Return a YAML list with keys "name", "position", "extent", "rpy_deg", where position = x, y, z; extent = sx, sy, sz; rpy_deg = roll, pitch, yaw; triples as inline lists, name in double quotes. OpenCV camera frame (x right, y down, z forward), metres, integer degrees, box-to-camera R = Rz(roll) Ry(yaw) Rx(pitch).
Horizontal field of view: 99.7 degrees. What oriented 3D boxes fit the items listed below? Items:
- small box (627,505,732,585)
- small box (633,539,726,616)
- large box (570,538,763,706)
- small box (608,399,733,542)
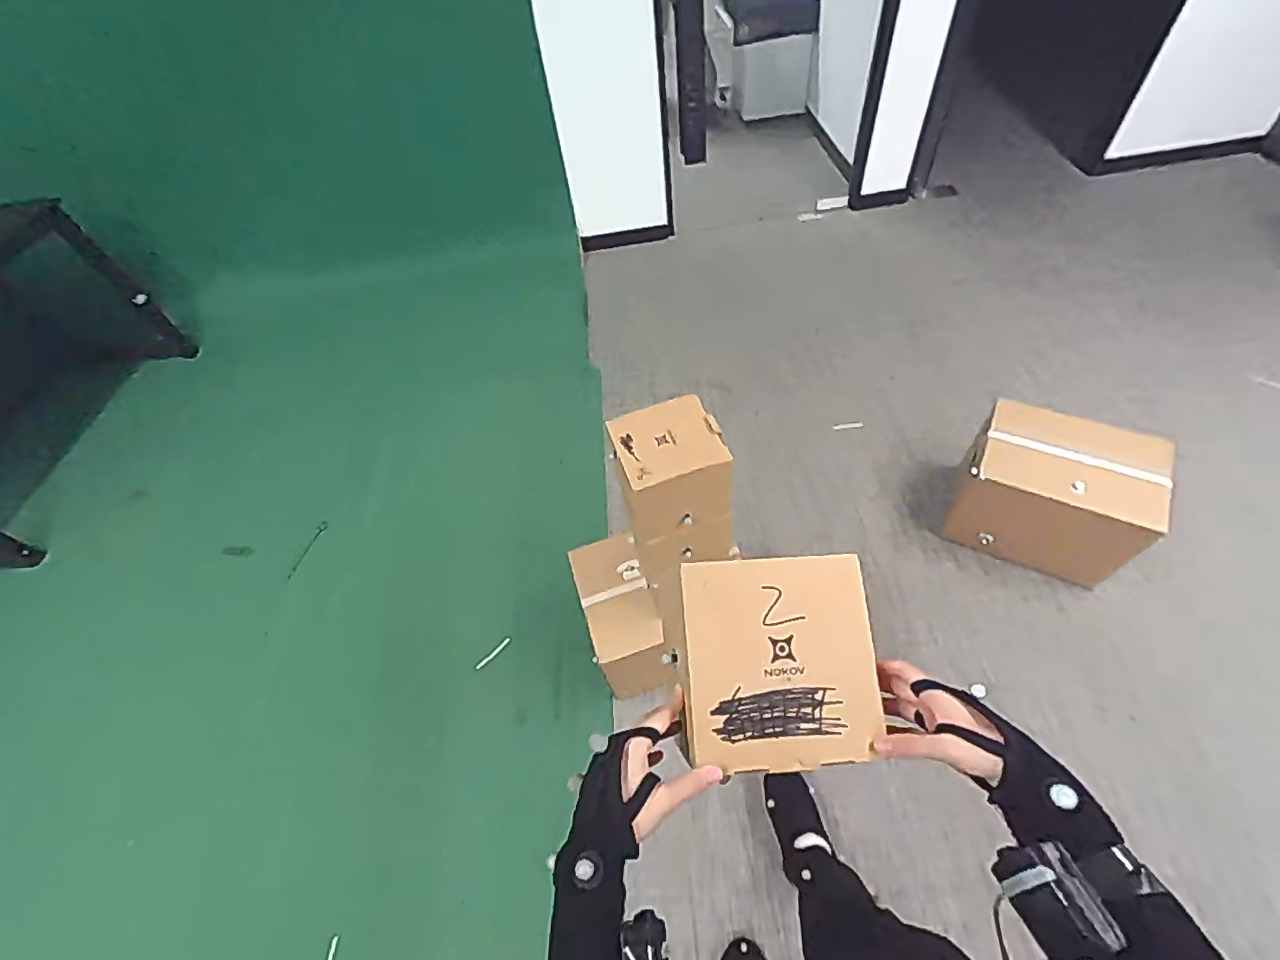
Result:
- name: "small box"
  position: [0.074, 0.087, 1.105]
  extent: [0.179, 0.176, 0.168]
  rpy_deg: [-19, 53, -7]
- name: "small box"
  position: [0.089, 0.190, 1.232]
  extent: [0.168, 0.176, 0.179]
  rpy_deg: [-17, 52, -6]
- name: "large box"
  position: [0.072, 0.342, 1.426]
  extent: [0.408, 0.320, 0.320]
  rpy_deg: [-19, 51, -5]
- name: "small box"
  position: [0.053, -0.014, 0.977]
  extent: [0.179, 0.176, 0.168]
  rpy_deg: [-17, 52, -7]
